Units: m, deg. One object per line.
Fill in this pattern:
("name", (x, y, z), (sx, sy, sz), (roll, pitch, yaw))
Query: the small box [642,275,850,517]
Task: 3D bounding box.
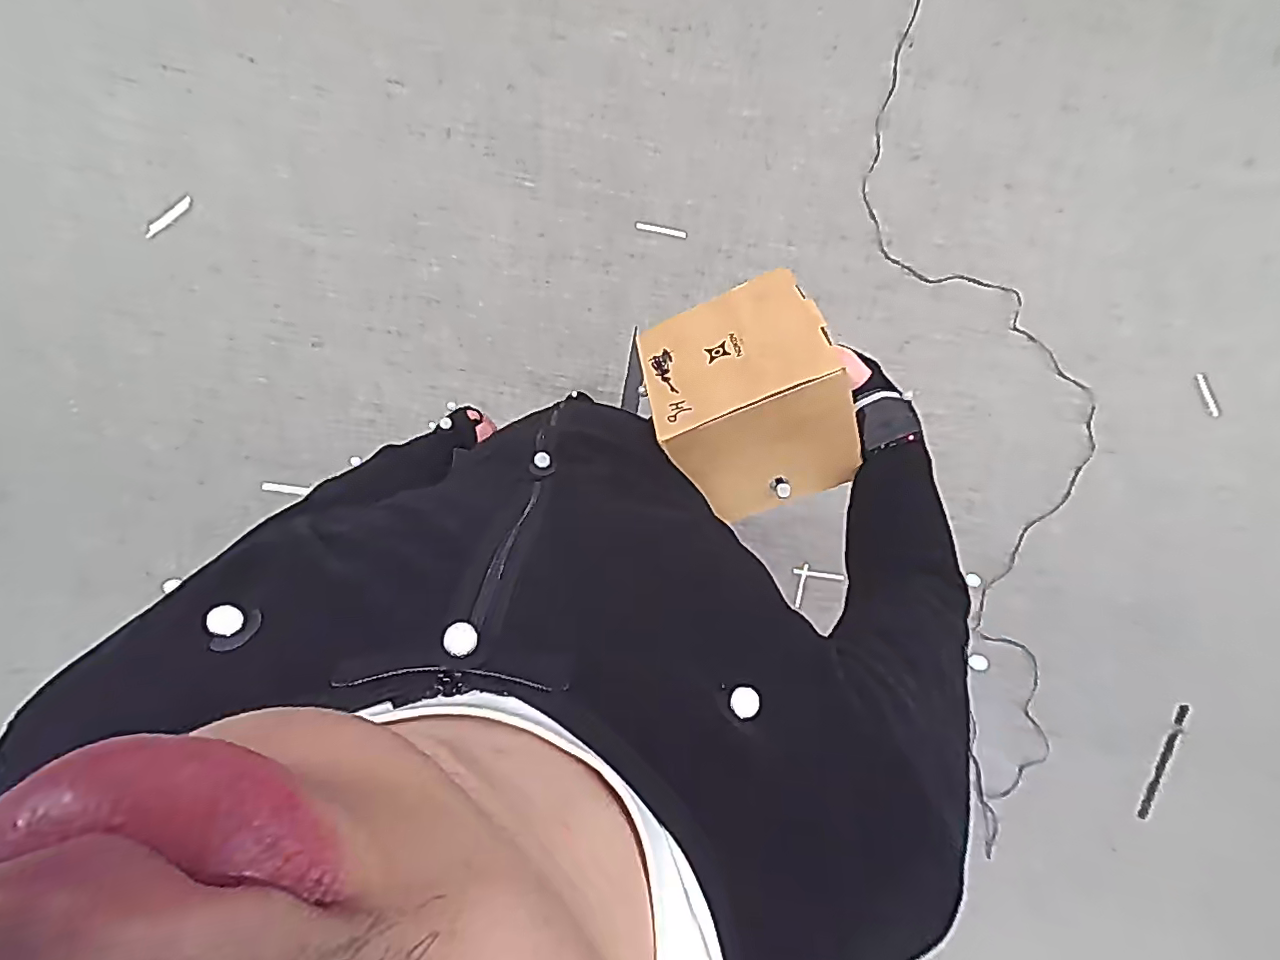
("small box", (0.122, -0.086, 0.604), (0.179, 0.168, 0.176), (-21, 139, 13))
